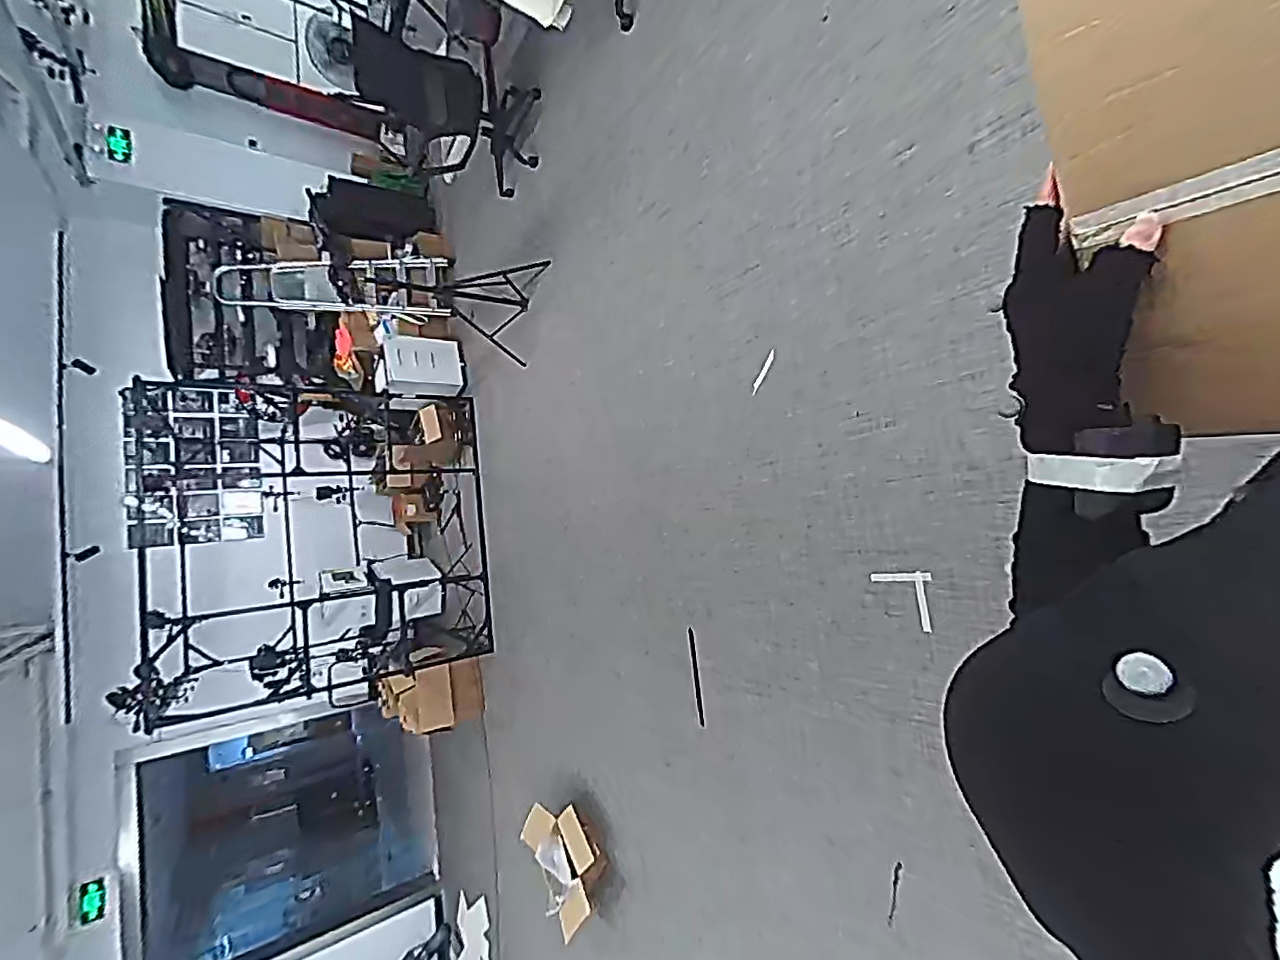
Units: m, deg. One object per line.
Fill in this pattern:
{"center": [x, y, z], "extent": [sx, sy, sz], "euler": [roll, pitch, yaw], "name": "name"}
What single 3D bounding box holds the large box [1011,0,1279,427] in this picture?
{"center": [0.496, -0.251, 0.266], "extent": [0.408, 0.320, 0.320], "euler": [-1, 124, 56], "name": "large box"}
